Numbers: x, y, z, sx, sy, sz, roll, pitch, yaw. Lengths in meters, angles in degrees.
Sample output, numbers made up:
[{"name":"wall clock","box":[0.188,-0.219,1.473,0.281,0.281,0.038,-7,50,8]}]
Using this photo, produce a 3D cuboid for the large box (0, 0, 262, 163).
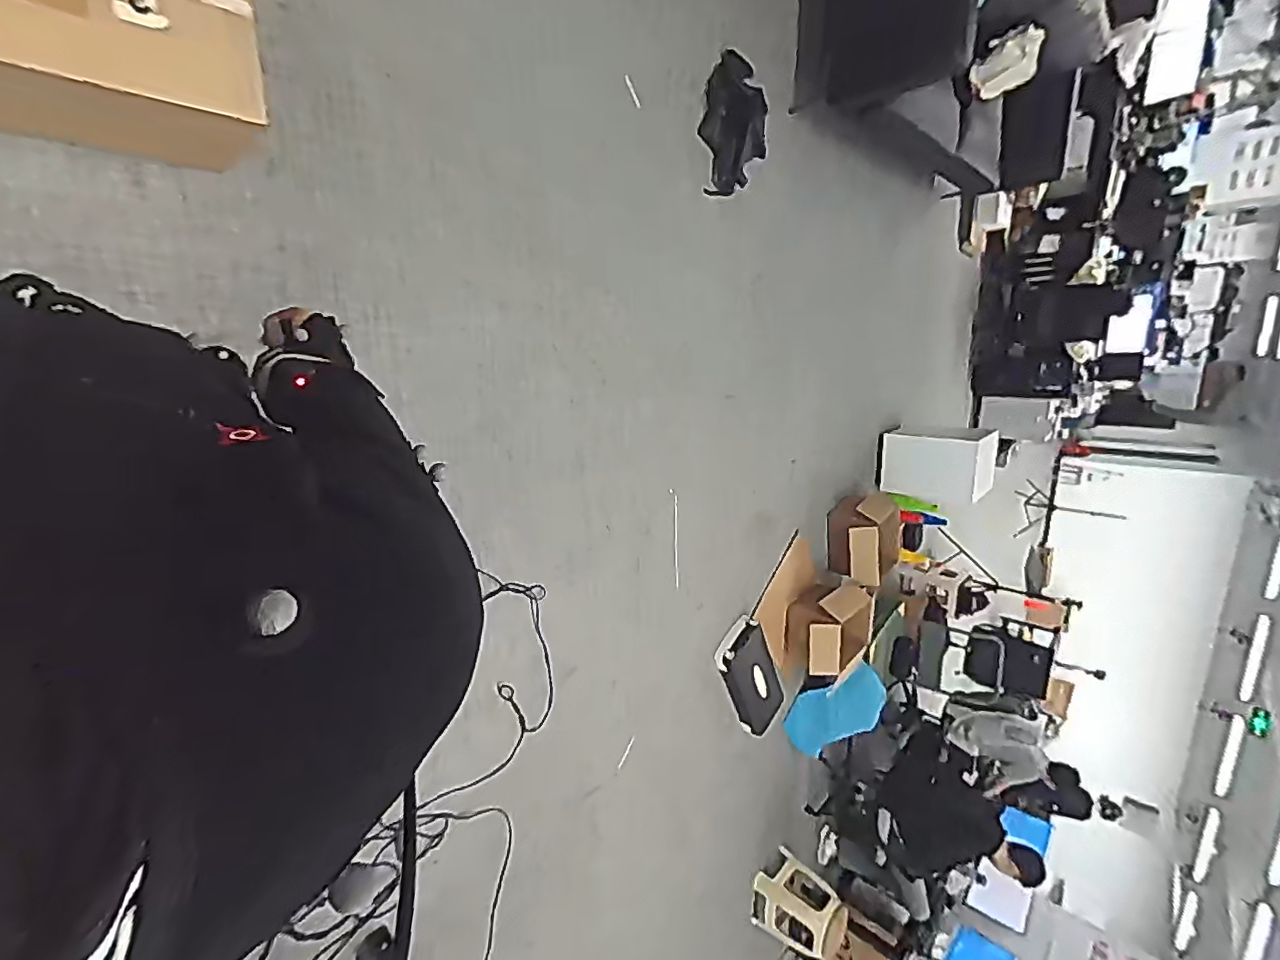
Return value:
[{"name":"large box","box":[-0.845,-0.703,0.778,0.408,0.320,0.320,-15,110,-46]}]
